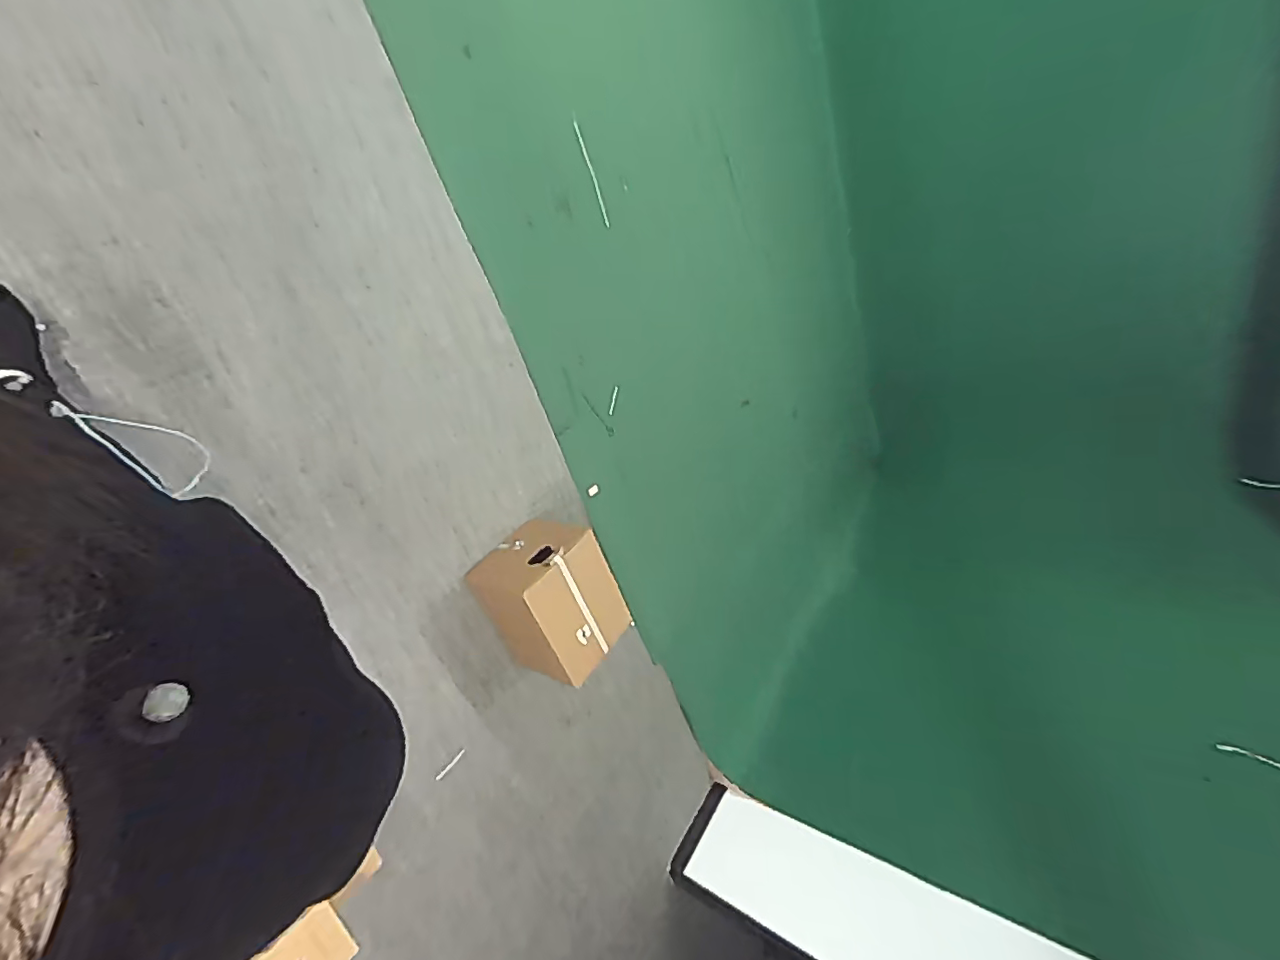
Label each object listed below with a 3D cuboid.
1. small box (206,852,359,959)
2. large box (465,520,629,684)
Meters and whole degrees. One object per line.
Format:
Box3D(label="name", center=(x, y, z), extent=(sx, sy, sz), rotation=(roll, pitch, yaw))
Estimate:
Box3D(label="small box", center=(-0.674, 0.860, 1.014), extent=(0.179, 0.176, 0.168), rotation=(-33, 120, -43))
Box3D(label="large box", center=(-0.298, 0.389, 1.790), extent=(0.320, 0.320, 0.408), rotation=(-44, 125, -38))
